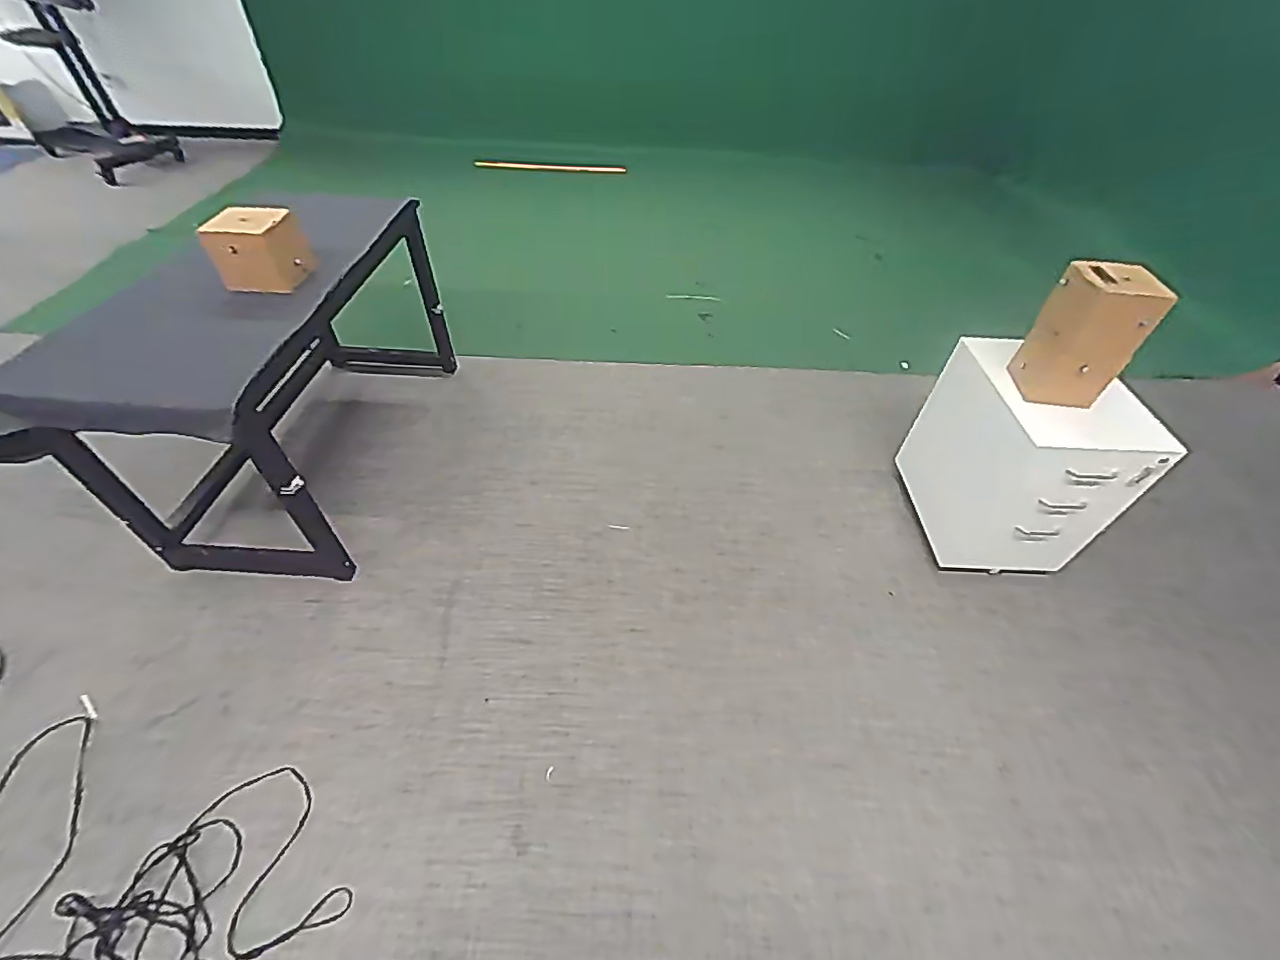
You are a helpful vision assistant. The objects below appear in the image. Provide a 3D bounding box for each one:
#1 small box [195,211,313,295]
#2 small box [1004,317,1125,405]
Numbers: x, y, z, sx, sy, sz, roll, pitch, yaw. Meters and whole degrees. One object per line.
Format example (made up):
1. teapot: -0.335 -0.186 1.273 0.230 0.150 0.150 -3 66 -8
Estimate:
1. small box: -1.064 -0.631 1.507 0.179 0.176 0.168 2 47 1
2. small box: 1.162 -0.326 1.495 0.179 0.176 0.168 7 47 3
